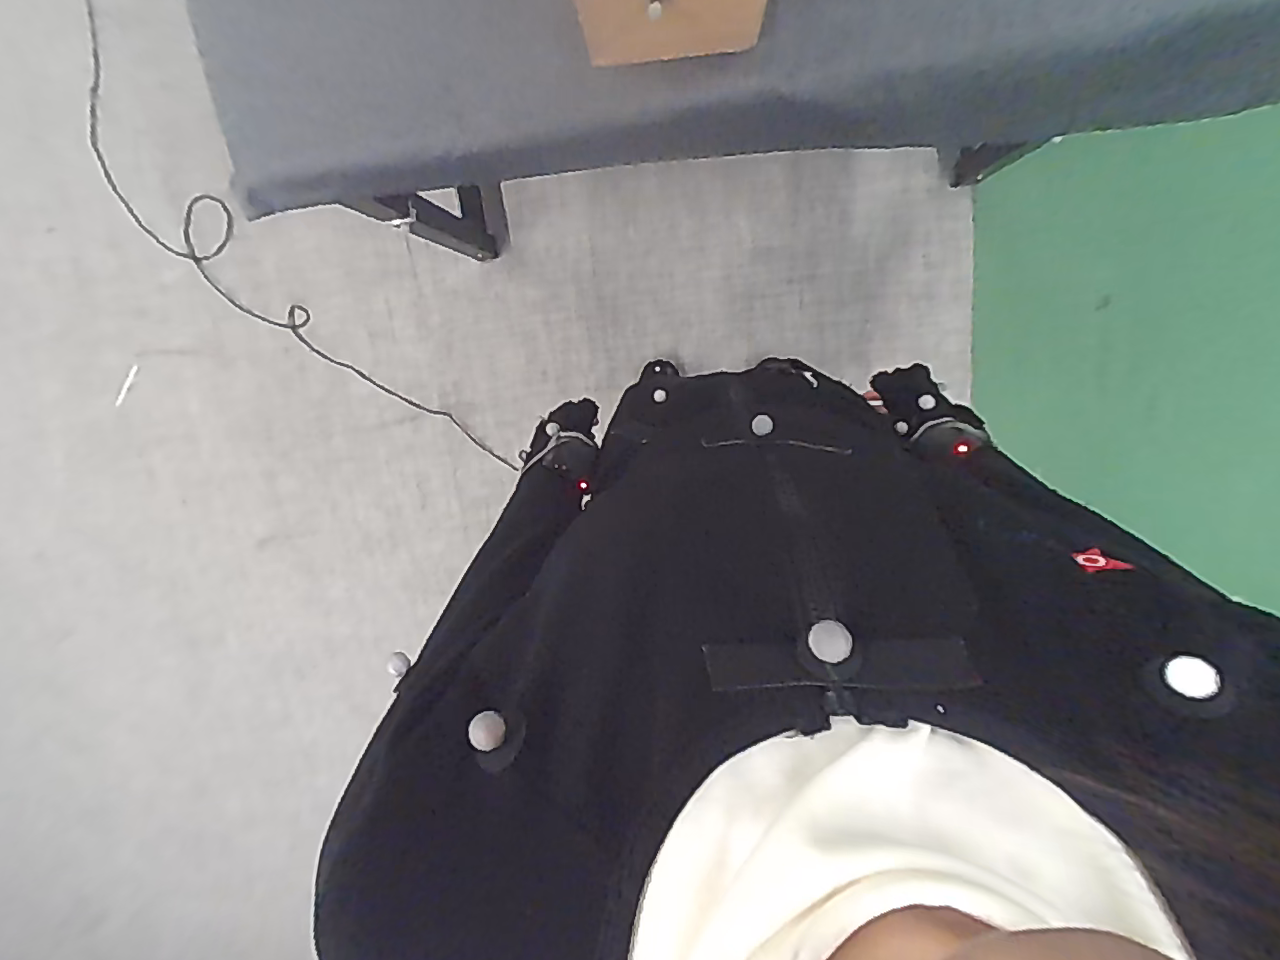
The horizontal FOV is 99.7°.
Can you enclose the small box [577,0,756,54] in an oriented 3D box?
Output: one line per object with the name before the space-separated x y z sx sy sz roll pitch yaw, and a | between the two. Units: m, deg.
small box | 0.021 -0.518 0.481 0.179 0.176 0.168 -2 103 5
